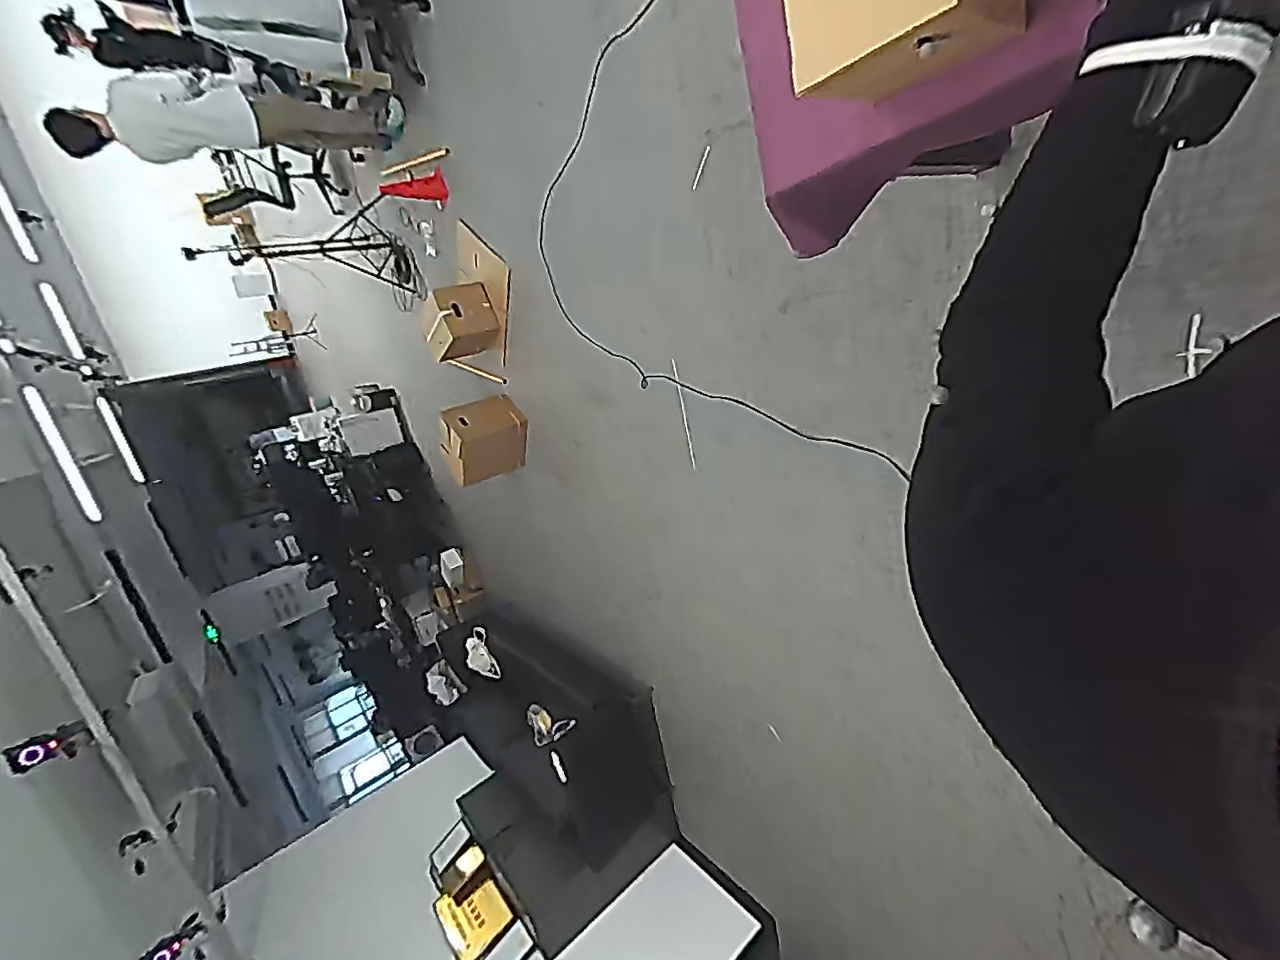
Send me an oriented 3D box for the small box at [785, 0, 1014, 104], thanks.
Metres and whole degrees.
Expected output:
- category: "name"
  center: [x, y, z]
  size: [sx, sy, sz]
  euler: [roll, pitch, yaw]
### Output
- category: "small box"
  center: [0.279, -0.534, 0.579]
  size: [0.179, 0.176, 0.168]
  euler: [9, 115, 52]
